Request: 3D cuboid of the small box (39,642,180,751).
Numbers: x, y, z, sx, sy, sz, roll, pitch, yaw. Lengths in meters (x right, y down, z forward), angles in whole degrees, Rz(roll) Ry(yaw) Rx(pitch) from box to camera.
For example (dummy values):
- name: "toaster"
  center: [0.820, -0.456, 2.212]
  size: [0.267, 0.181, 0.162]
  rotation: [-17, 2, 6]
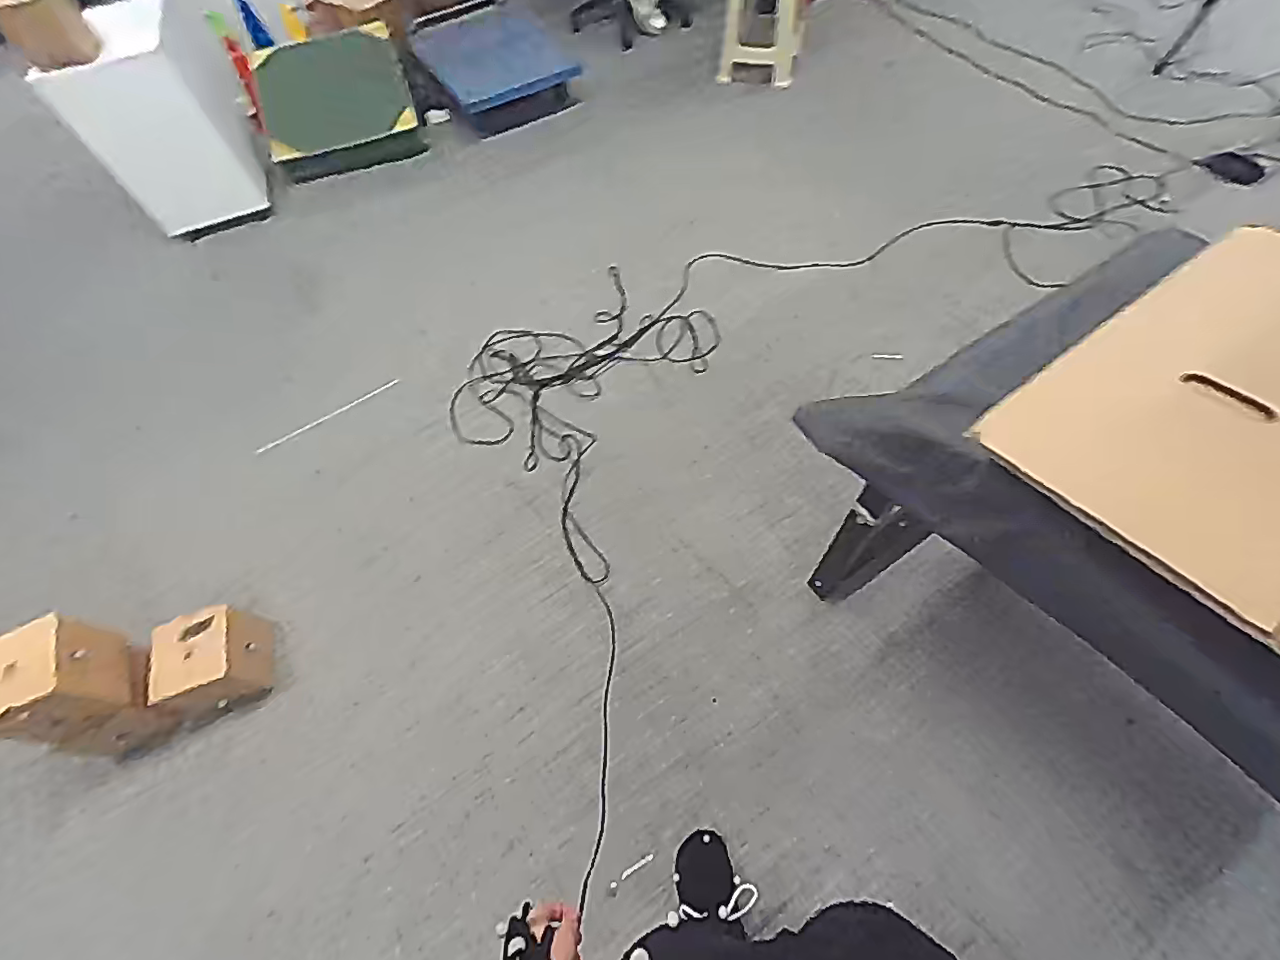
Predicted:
- name: "small box"
  center: [-1.200, 0.494, 1.235]
  size: [0.168, 0.176, 0.179]
  rotation: [-28, 63, -12]

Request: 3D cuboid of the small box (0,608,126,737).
- name: "small box"
  center: [-1.206, 0.397, 1.103]
  size: [0.168, 0.176, 0.179]
  rotation: [-27, 62, -12]
